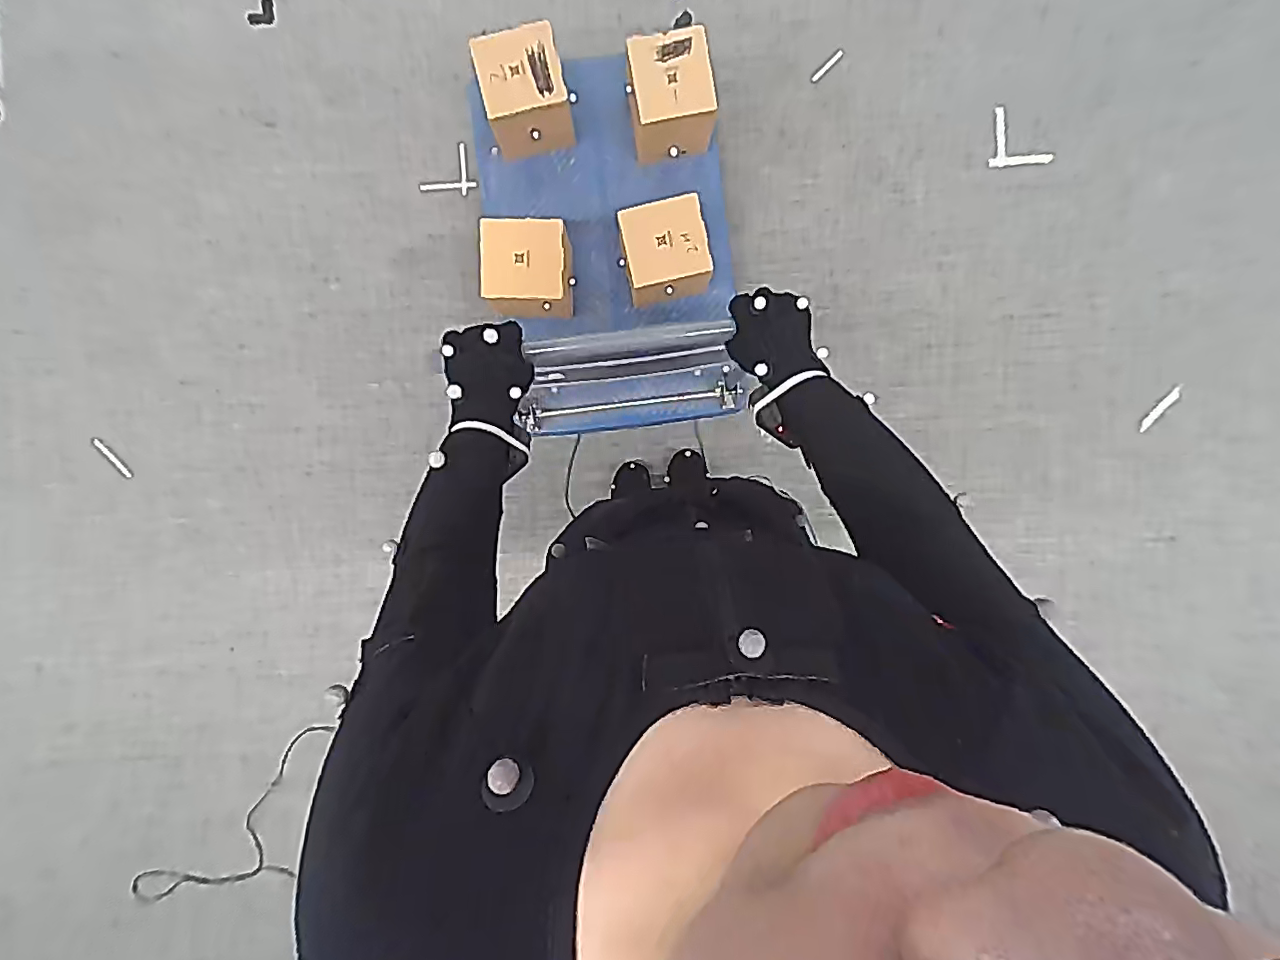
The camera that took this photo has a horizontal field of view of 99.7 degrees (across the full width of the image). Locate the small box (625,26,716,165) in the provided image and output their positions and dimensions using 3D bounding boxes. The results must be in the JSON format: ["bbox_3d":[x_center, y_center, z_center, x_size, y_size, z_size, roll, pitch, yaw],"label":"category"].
[{"bbox_3d":[0.061,-0.838,1.194,0.168,0.176,0.179,-11,94,1],"label":"small box"}]

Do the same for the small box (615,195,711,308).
[{"bbox_3d":[0.050,-0.501,1.211,0.179,0.176,0.168,-13,93,1],"label":"small box"}]

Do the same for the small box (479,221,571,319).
[{"bbox_3d":[-0.252,-0.463,1.214,0.179,0.176,0.168,-1,93,-1],"label":"small box"}]
